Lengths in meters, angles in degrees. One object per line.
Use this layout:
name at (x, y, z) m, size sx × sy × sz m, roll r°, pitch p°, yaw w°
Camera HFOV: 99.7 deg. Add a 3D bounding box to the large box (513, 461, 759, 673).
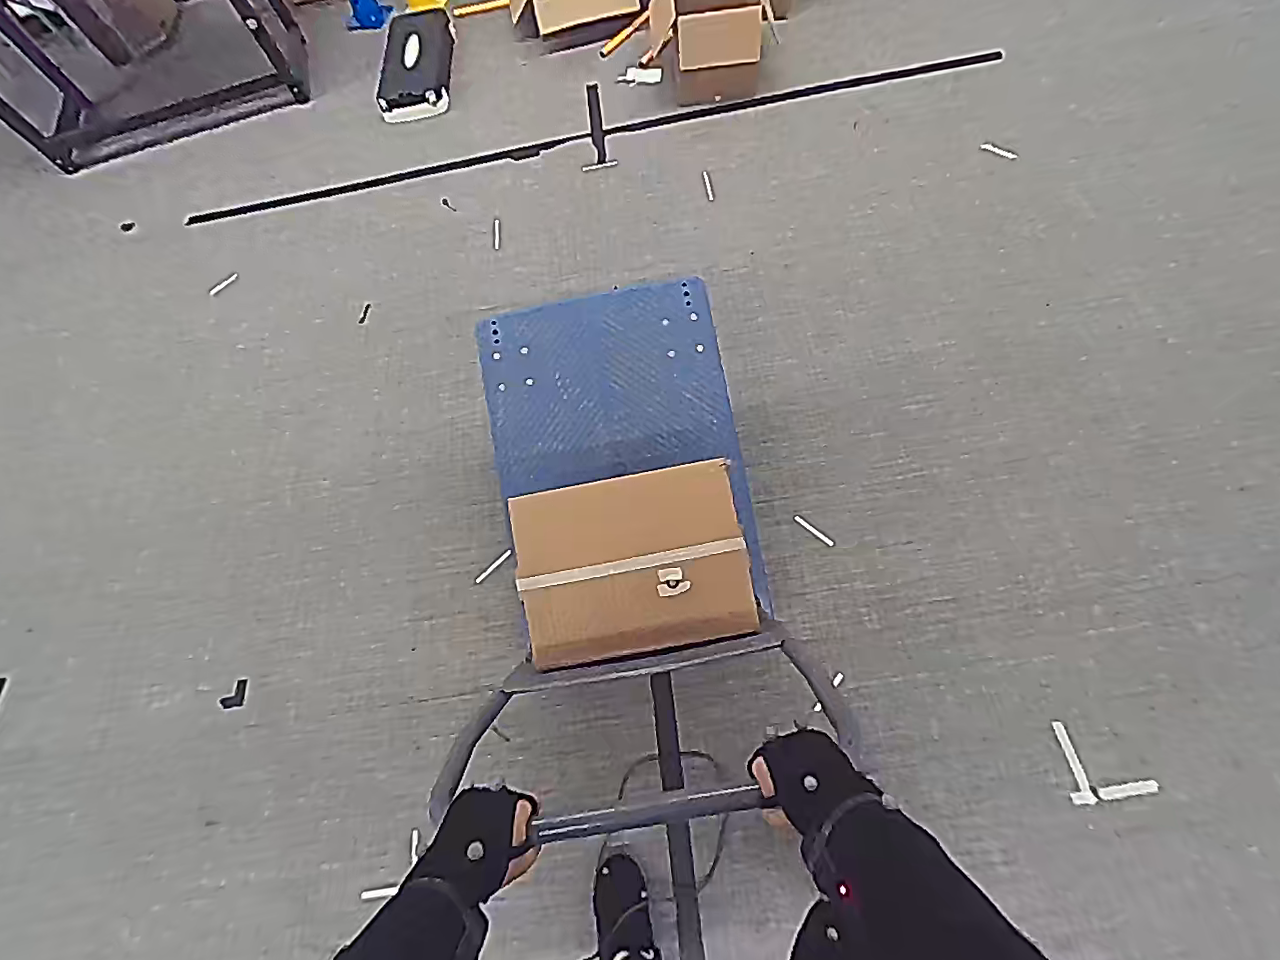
large box at (-0.008, 0.173, 1.129) m, size 0.408 × 0.320 × 0.320 m, roll -12°, pitch 84°, yaw 0°
